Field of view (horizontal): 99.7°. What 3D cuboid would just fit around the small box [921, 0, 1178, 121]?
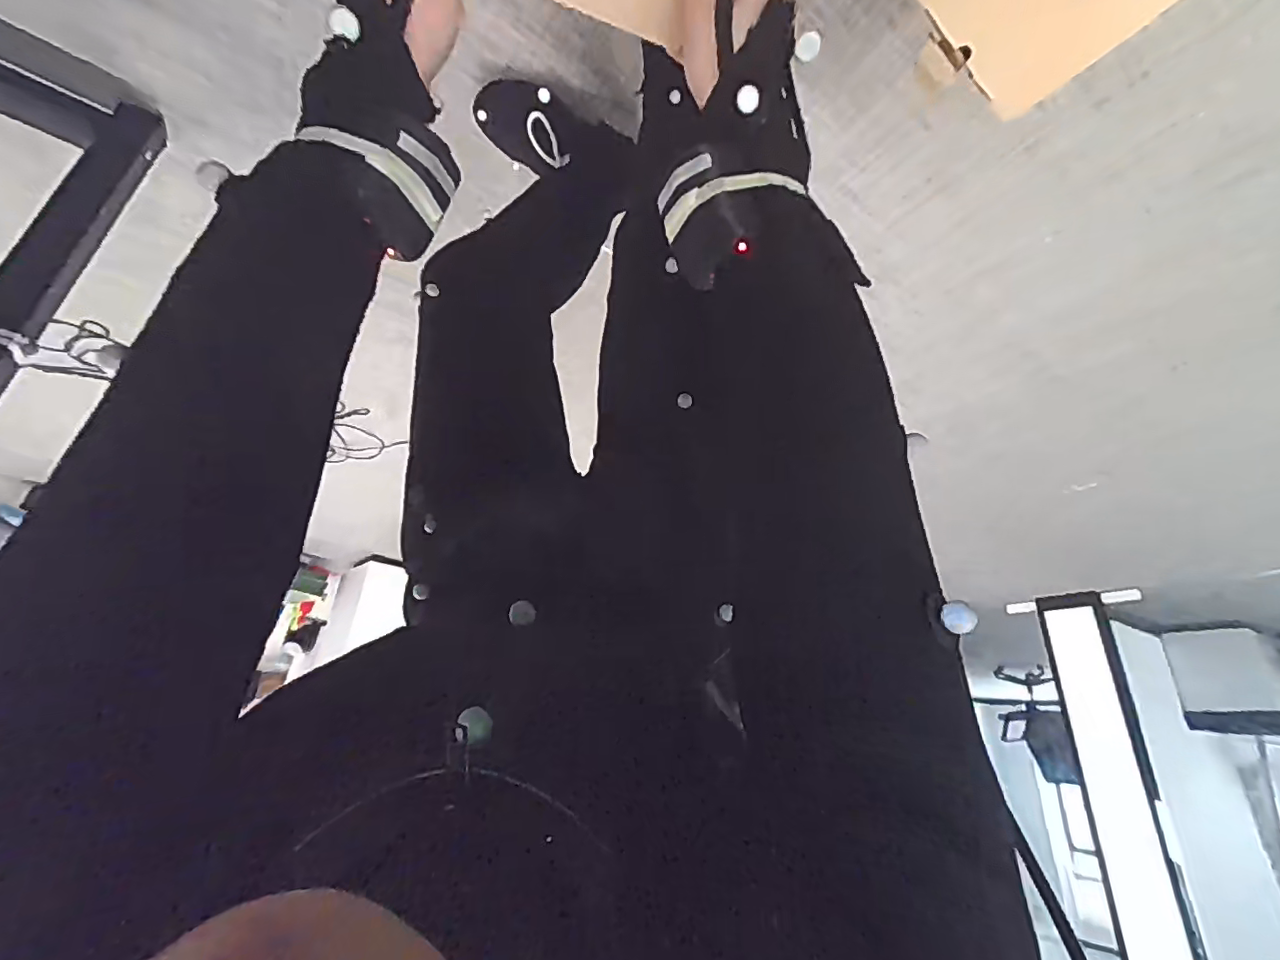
[{"bbox_3d":[0.303,-0.427,0.389,0.168,0.176,0.179,20,151,-32],"label":"small box"}]
